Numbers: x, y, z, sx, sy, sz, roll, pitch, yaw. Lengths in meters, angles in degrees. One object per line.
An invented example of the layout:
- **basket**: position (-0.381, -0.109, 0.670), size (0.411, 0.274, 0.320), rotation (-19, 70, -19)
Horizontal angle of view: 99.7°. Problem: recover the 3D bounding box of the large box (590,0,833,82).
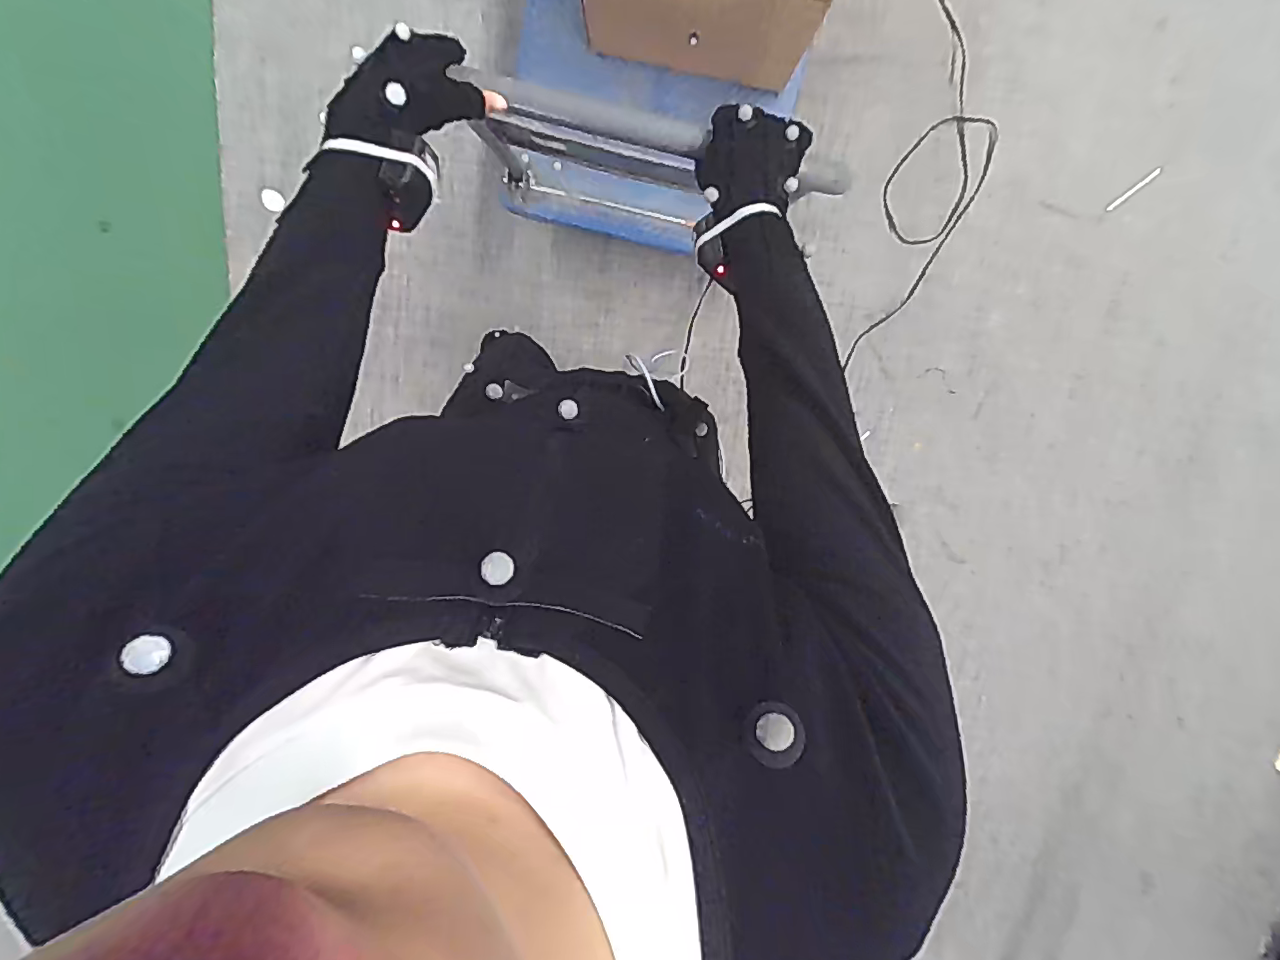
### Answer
- **large box**: position (0.133, -0.955, 0.933), size (0.408, 0.320, 0.320), rotation (9, 103, -1)
